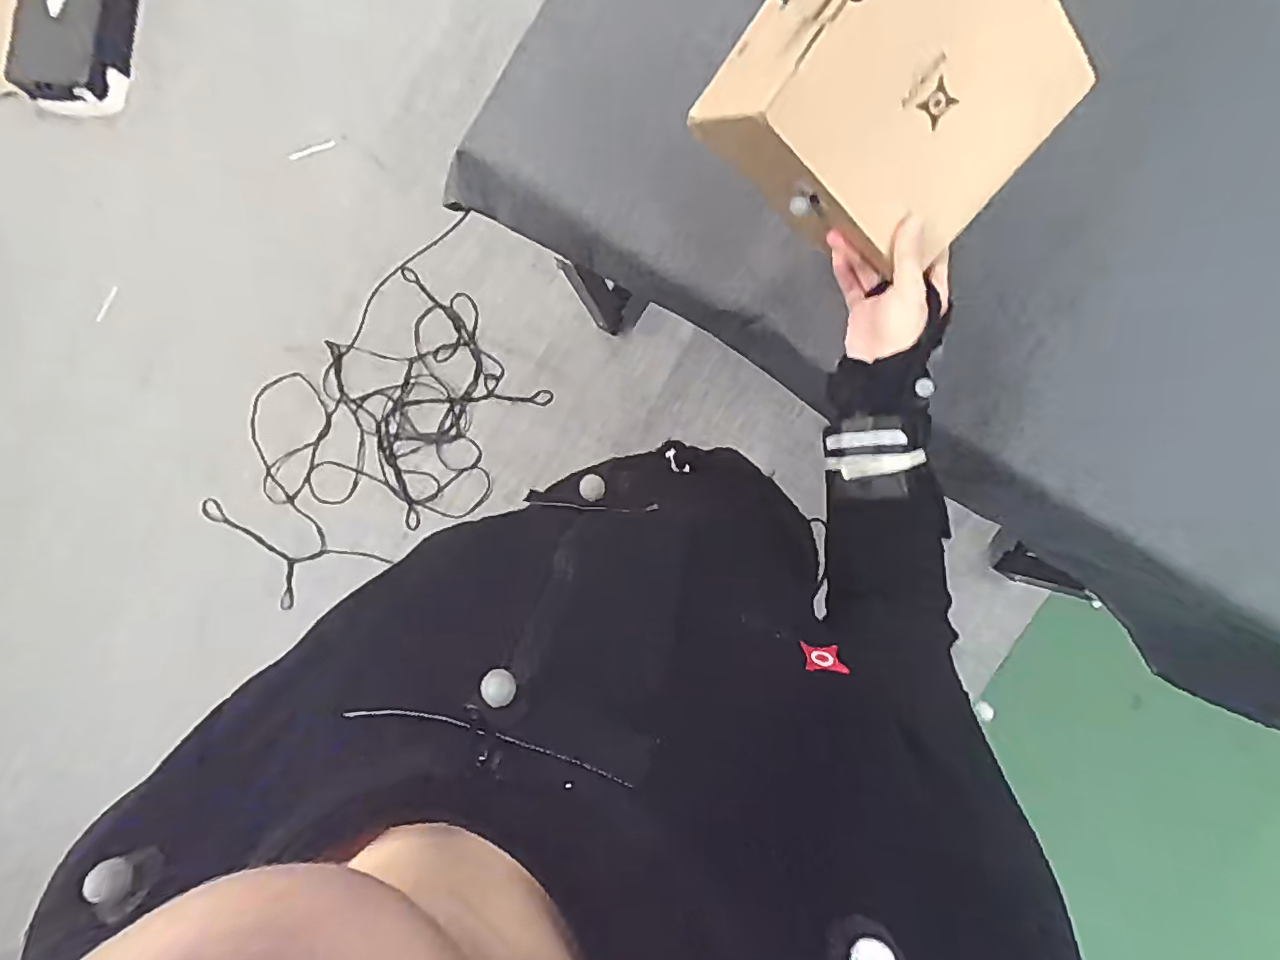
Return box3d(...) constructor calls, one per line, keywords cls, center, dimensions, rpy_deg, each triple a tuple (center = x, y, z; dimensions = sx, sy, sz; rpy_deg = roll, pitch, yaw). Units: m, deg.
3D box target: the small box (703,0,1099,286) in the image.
box3d(cls="small box", center=(0.179, -0.285, 0.413), dimensions=(0.179, 0.176, 0.168), rpy_deg=(30, 110, -28))
